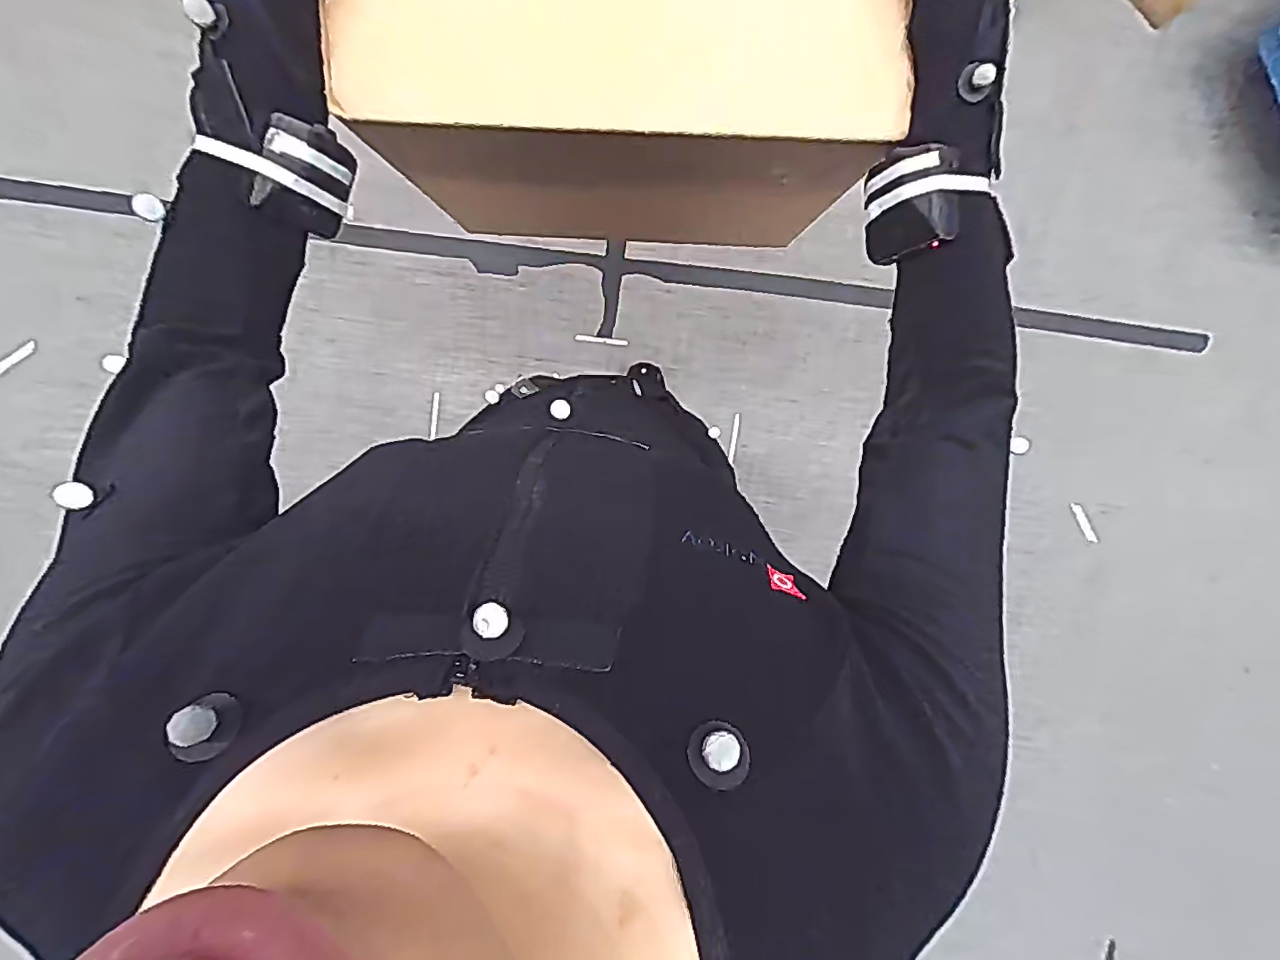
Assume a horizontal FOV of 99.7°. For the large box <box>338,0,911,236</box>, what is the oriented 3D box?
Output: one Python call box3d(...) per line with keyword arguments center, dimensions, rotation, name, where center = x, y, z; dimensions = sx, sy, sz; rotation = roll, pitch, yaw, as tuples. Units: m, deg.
box3d(center=(-0.010, -0.434, 0.505), dimensions=(0.408, 0.320, 0.320), rotation=(2, 101, -1), name="large box")
